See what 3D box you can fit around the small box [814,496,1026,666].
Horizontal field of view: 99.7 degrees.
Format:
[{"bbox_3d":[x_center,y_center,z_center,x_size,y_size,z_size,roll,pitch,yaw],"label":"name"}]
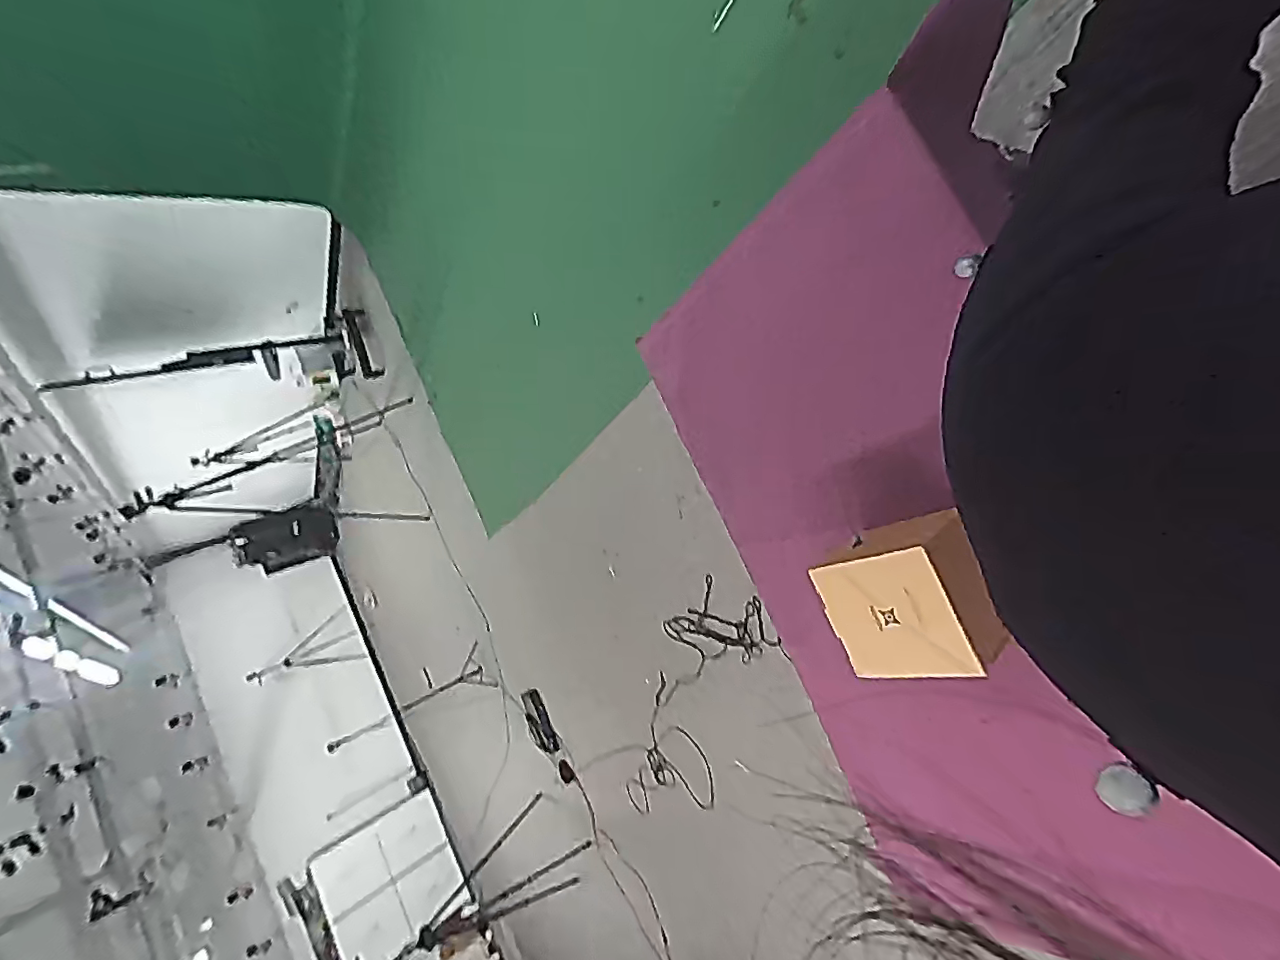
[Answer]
[{"bbox_3d":[0.382,0.139,0.742,0.179,0.176,0.168,-29,84,52],"label":"small box"}]
